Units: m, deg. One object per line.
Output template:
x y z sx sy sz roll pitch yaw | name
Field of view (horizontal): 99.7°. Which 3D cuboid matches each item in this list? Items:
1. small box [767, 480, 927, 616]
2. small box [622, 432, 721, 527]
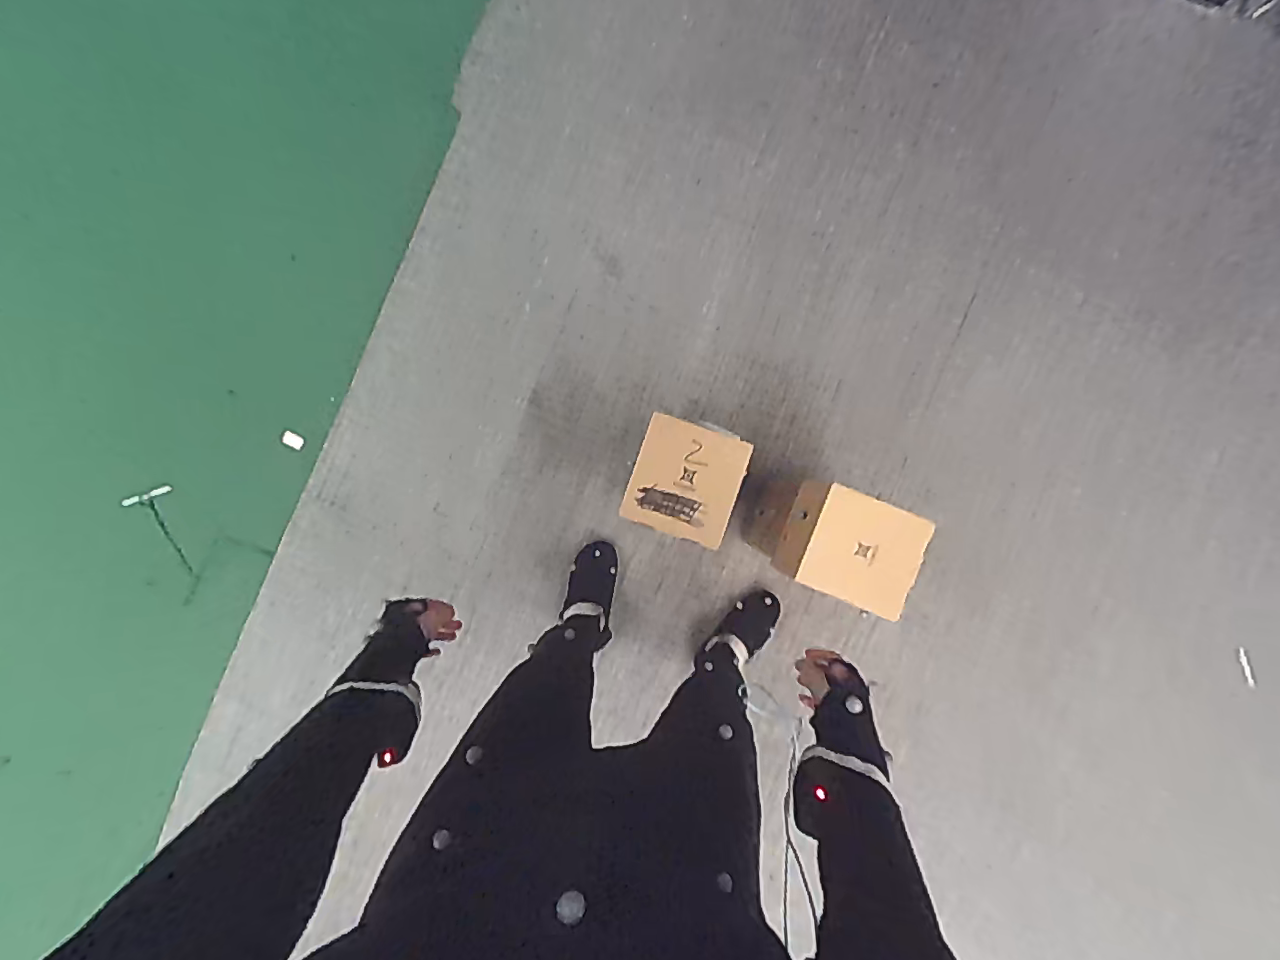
0.339 0.110 0.923 0.179 0.176 0.168 22 89 -1 | small box
0.069 -0.002 1.251 0.179 0.176 0.168 19 89 1 | small box
